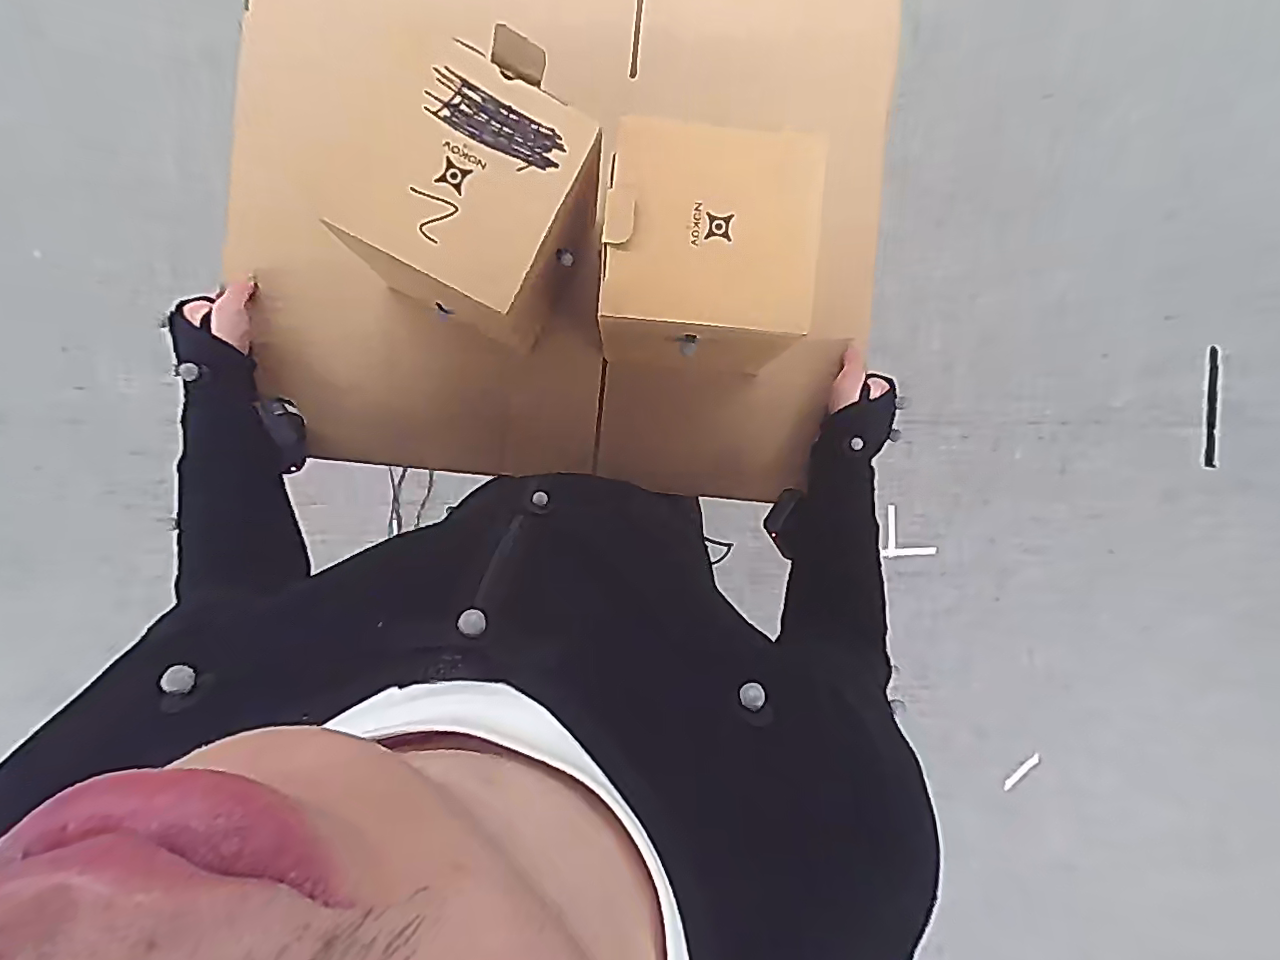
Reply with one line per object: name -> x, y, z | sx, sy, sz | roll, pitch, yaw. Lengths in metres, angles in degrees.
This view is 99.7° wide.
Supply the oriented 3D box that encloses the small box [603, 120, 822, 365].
small box -> 0.060, -0.215, 0.537 | 0.179, 0.176, 0.168 | 5, 91, -1
